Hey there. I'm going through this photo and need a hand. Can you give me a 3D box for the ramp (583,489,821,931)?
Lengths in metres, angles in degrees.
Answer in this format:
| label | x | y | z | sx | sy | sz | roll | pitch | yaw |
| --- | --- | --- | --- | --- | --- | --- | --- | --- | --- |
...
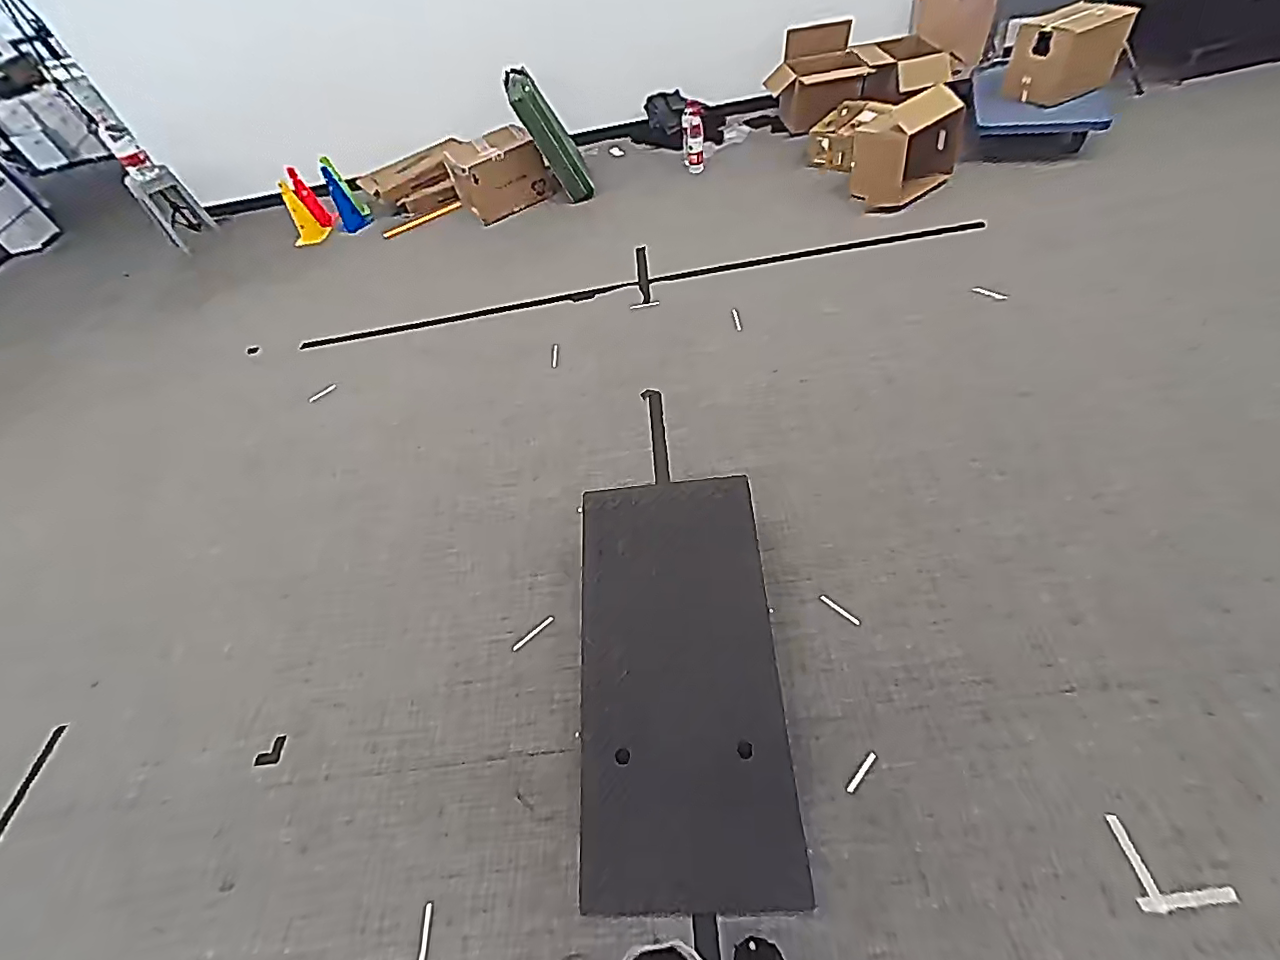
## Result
| label | x | y | z | sx | sy | sz | roll | pitch | yaw |
| --- | --- | --- | --- | --- | --- | --- | --- | --- | --- |
| ramp | 0.102 | 0.488 | 1.362 | 0.509 | 0.206 | 0.991 | -8 | 50 | 4 |
